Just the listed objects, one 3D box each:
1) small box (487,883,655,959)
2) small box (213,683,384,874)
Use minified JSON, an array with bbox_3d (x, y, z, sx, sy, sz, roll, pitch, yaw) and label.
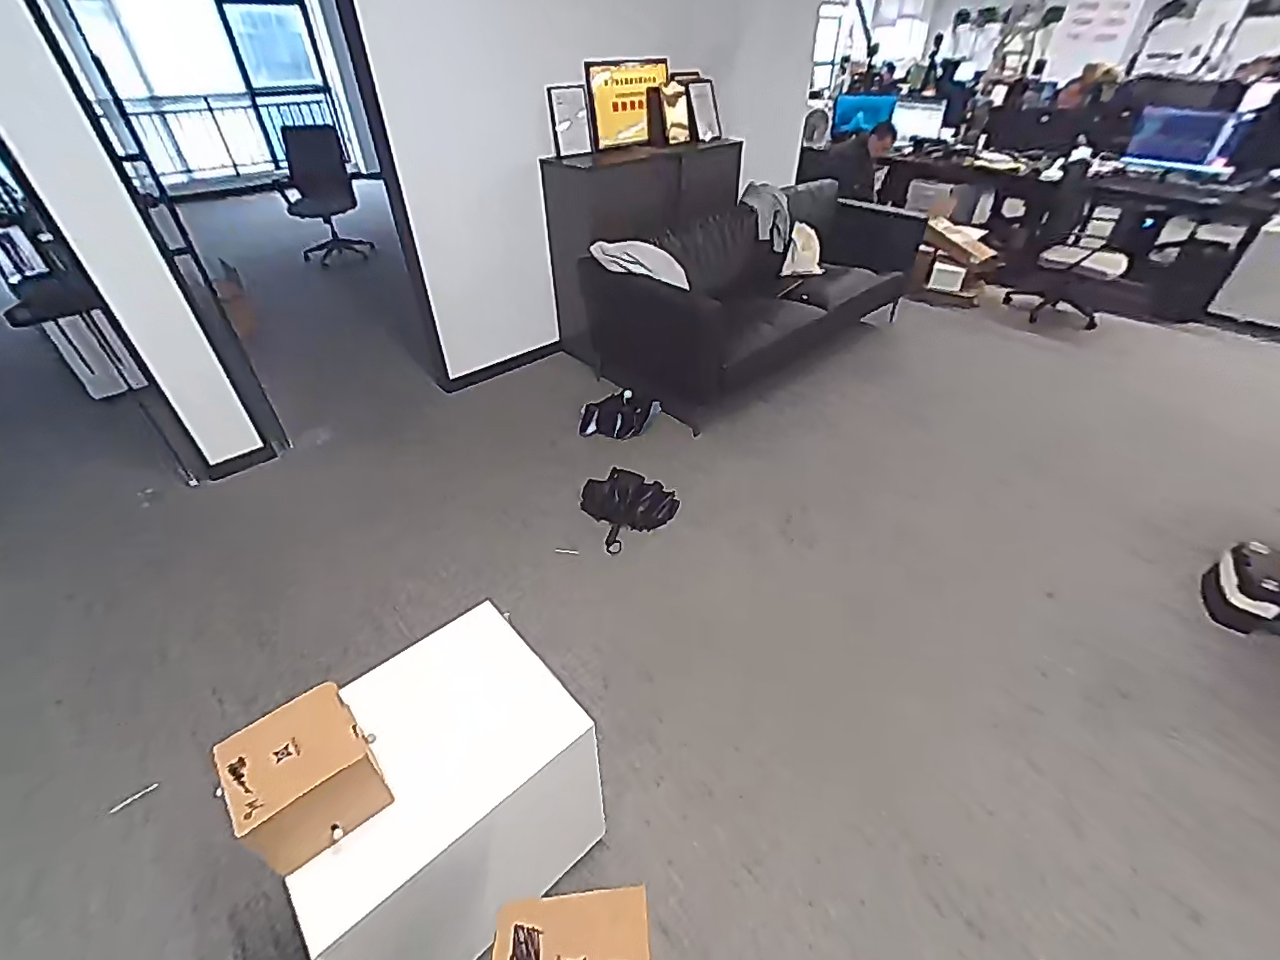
[{"bbox_3d":[-0.069,0.582,0.577,0.179,0.176,0.168,-6,13,-1],"label":"small box"},{"bbox_3d":[-0.532,0.472,0.864,0.179,0.176,0.168,-27,46,-32],"label":"small box"}]
